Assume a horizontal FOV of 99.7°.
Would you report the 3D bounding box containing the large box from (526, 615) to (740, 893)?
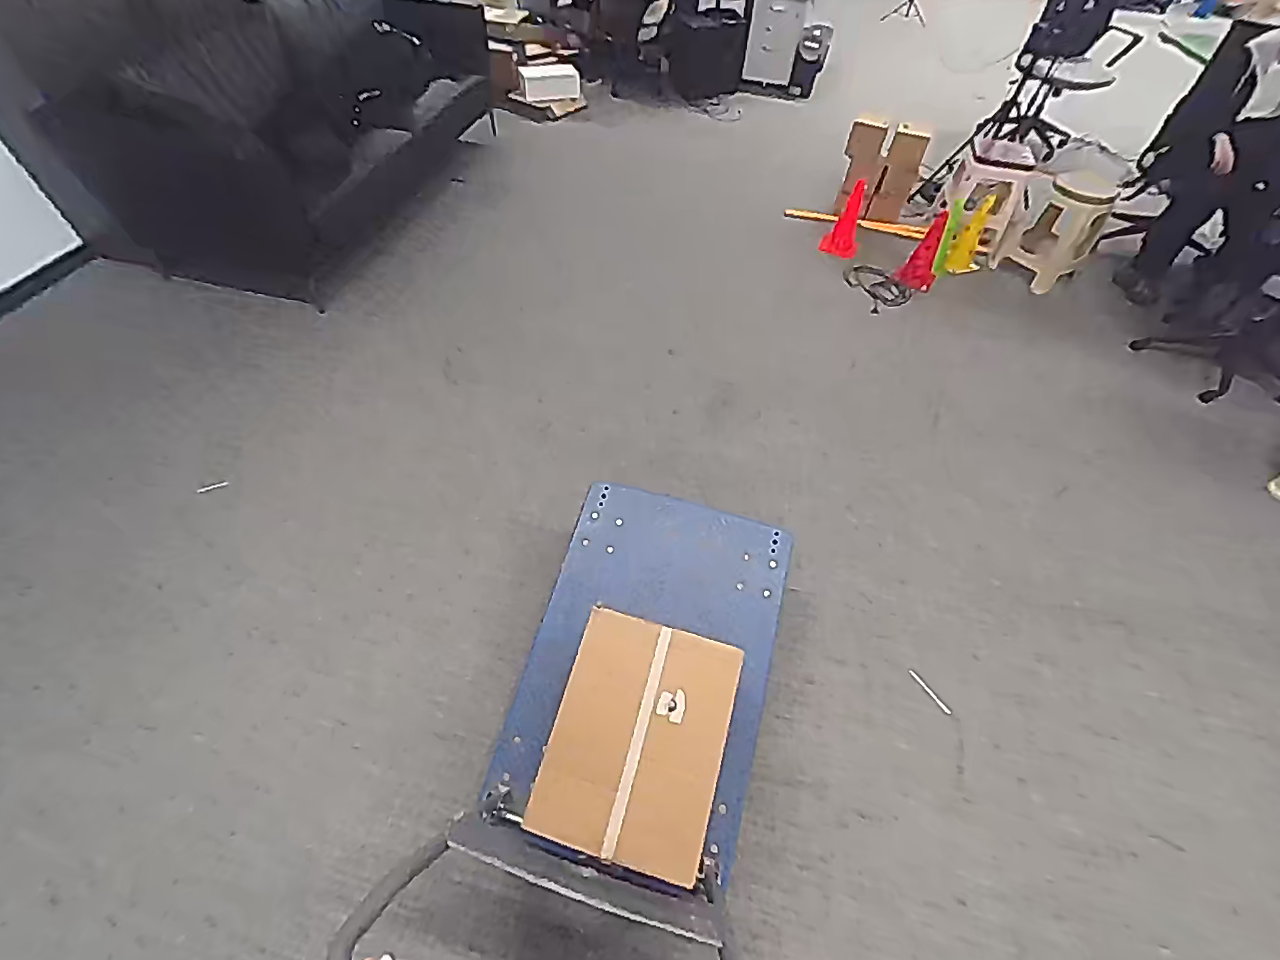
[{"bbox_3d":[0.001,0.545,1.132,0.320,0.320,0.408,15,67,7],"label":"large box"}]
